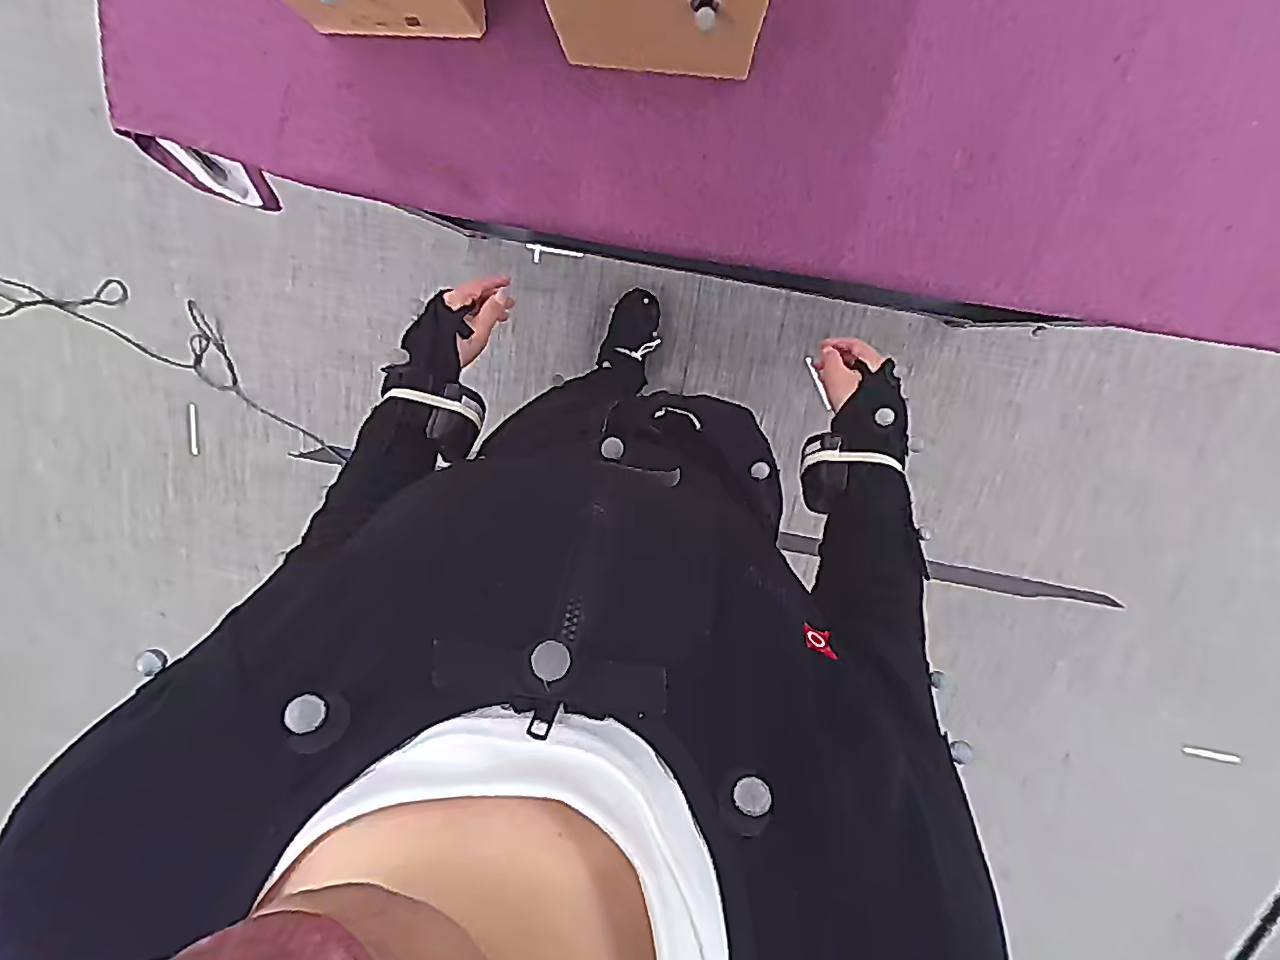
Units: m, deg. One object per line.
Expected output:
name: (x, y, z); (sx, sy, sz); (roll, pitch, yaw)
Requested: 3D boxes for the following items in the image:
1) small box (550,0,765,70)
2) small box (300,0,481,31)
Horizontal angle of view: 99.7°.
small box: (0.020, -0.453, 0.421); (0.179, 0.176, 0.168); (6, 105, 2)
small box: (-0.232, -0.497, 0.428); (0.168, 0.176, 0.179); (4, 106, 3)
